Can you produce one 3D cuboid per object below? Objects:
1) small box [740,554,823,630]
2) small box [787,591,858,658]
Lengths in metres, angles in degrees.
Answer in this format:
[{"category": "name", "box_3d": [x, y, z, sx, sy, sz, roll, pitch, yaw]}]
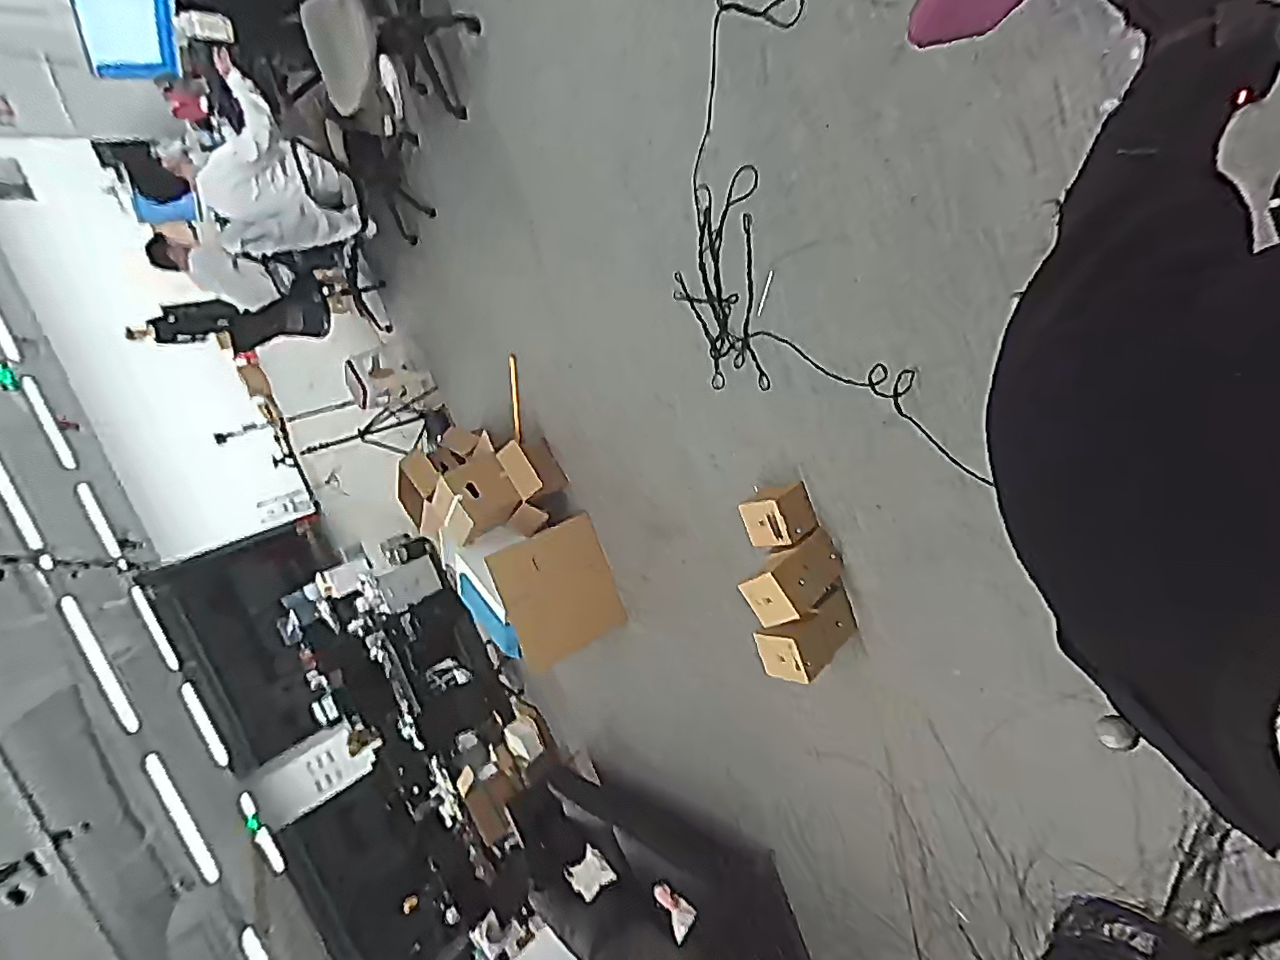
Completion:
[{"category": "small box", "box_3d": [0.473, 0.364, 1.776, 0.168, 0.176, 0.179, 58, 144, 7]}, {"category": "small box", "box_3d": [0.645, 0.503, 1.924, 0.168, 0.176, 0.179, -13, 102, 53]}]
